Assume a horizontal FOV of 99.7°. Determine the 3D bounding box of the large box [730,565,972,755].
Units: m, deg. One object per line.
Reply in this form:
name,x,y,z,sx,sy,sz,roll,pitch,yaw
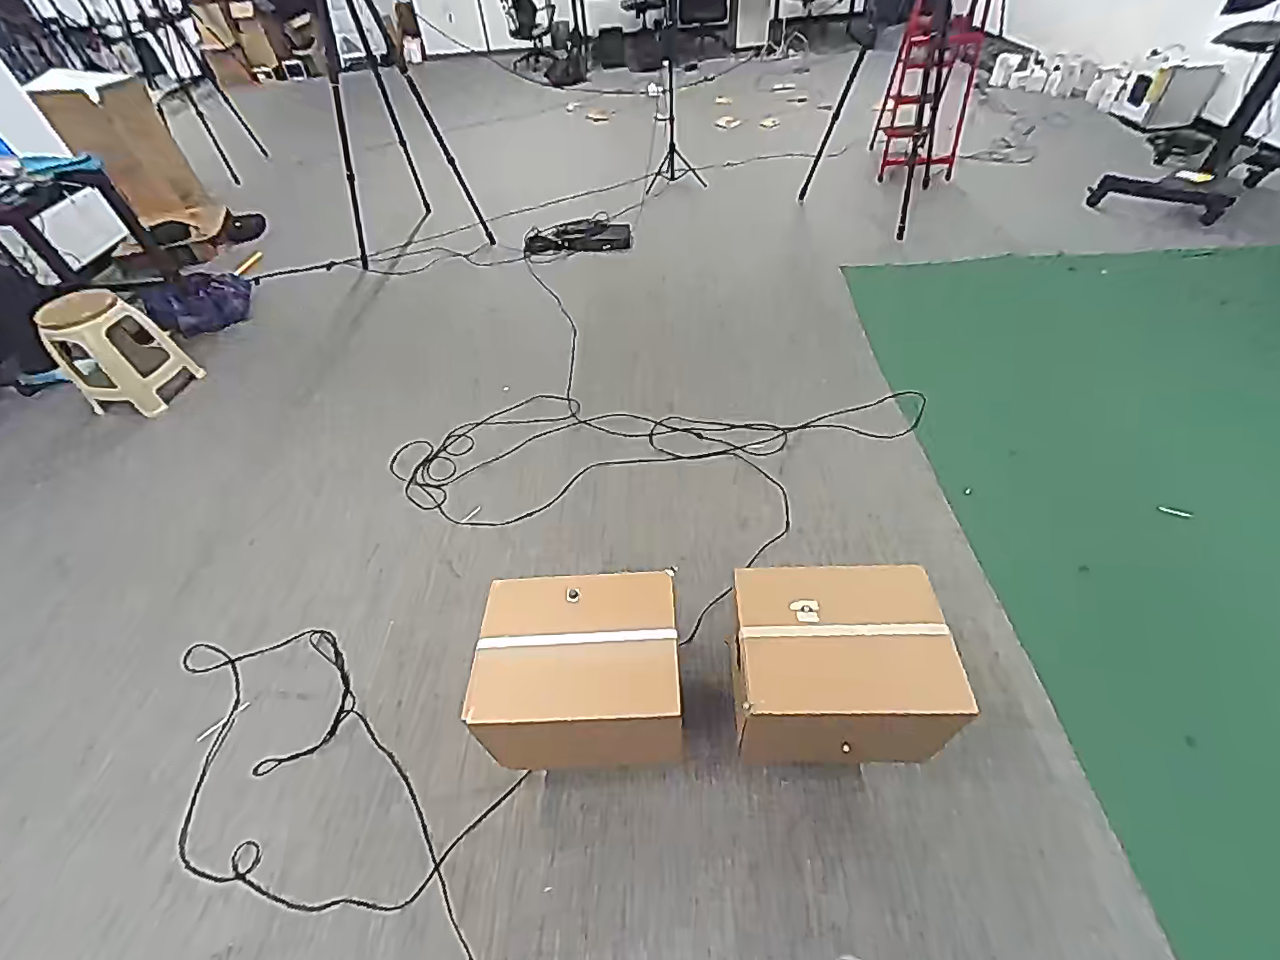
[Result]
large box,0.419,0.404,1.194,0.408,0.320,0.320,-2,48,5
